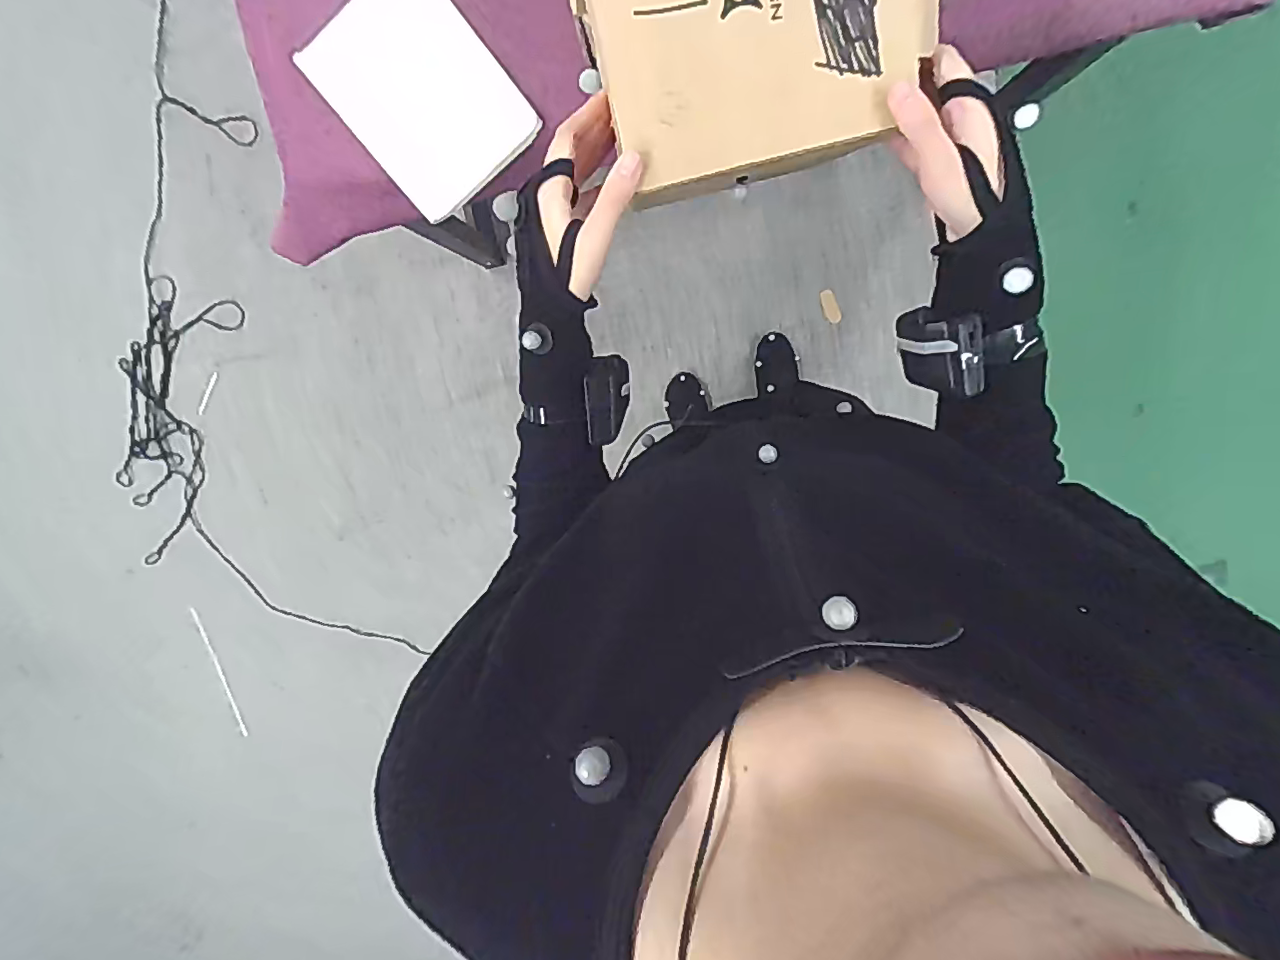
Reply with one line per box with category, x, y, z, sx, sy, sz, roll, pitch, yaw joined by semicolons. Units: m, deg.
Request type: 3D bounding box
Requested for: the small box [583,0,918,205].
small box;0.057;-0.295;0.360;0.179;0.176;0.168;-12;112;4
